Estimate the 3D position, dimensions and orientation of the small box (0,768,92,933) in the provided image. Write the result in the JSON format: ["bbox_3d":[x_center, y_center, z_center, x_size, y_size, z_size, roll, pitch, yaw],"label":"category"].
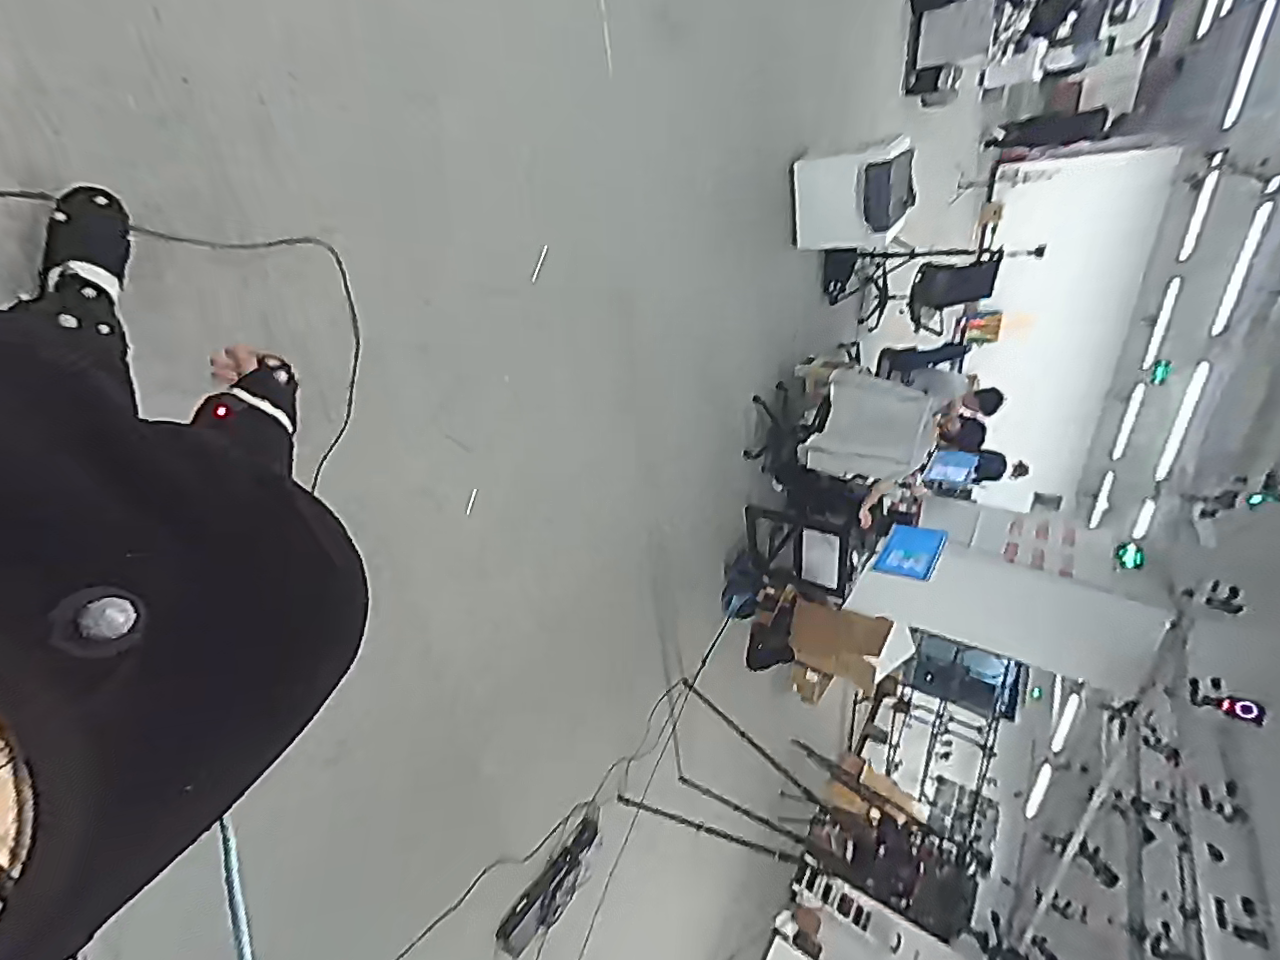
[{"bbox_3d":[-1.058,0.603,0.872,0.168,0.176,0.179,-40,131,-40],"label":"small box"}]
